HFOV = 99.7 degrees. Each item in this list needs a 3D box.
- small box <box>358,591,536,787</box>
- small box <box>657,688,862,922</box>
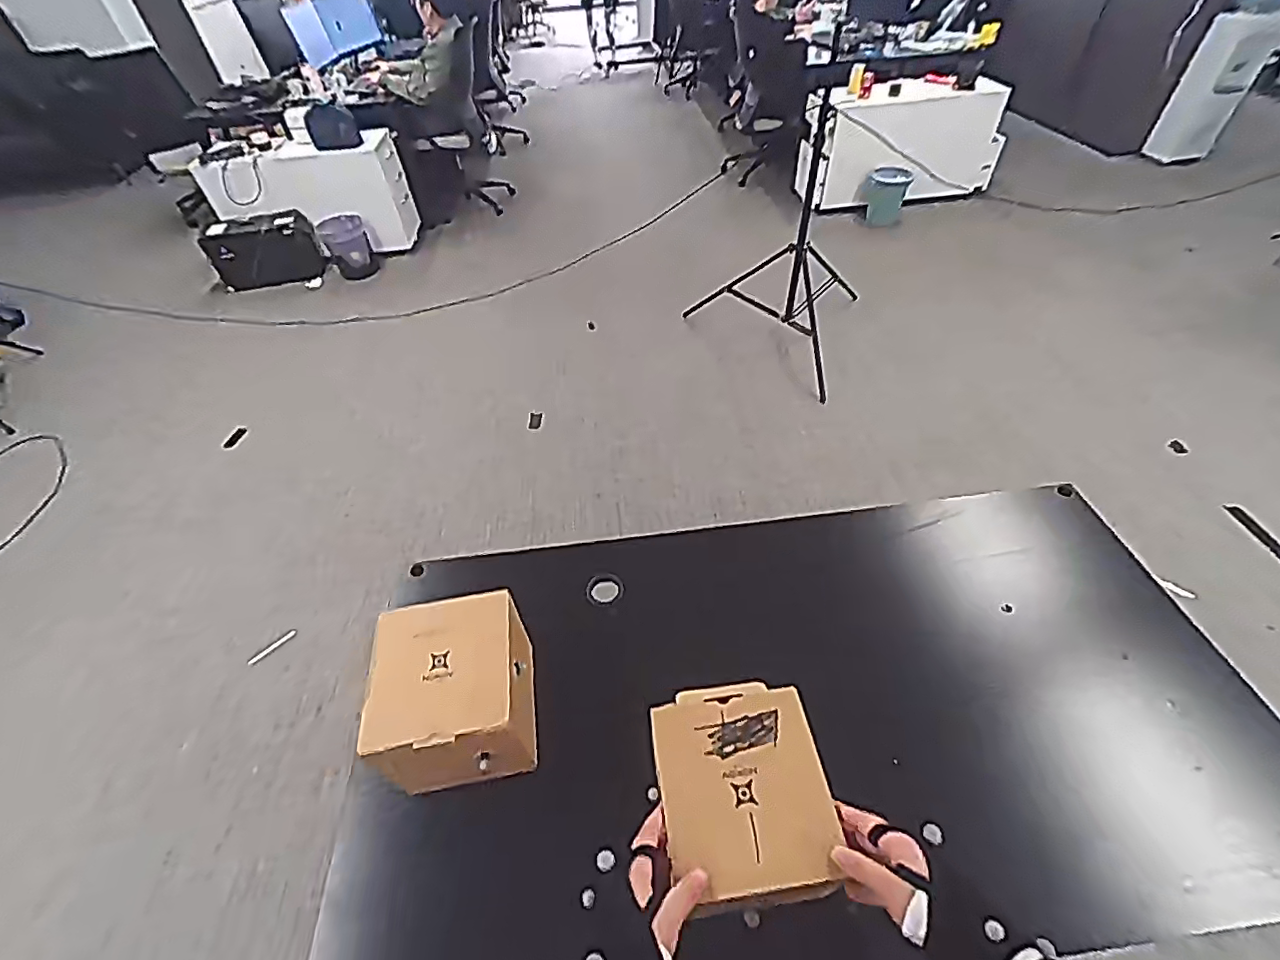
[{"bbox_3d":[-0.230,0.271,0.689,0.168,0.176,0.179,-9,47,-6],"label":"small box"},{"bbox_3d":[0.110,0.354,0.589,0.168,0.176,0.179,-8,48,-3],"label":"small box"}]
